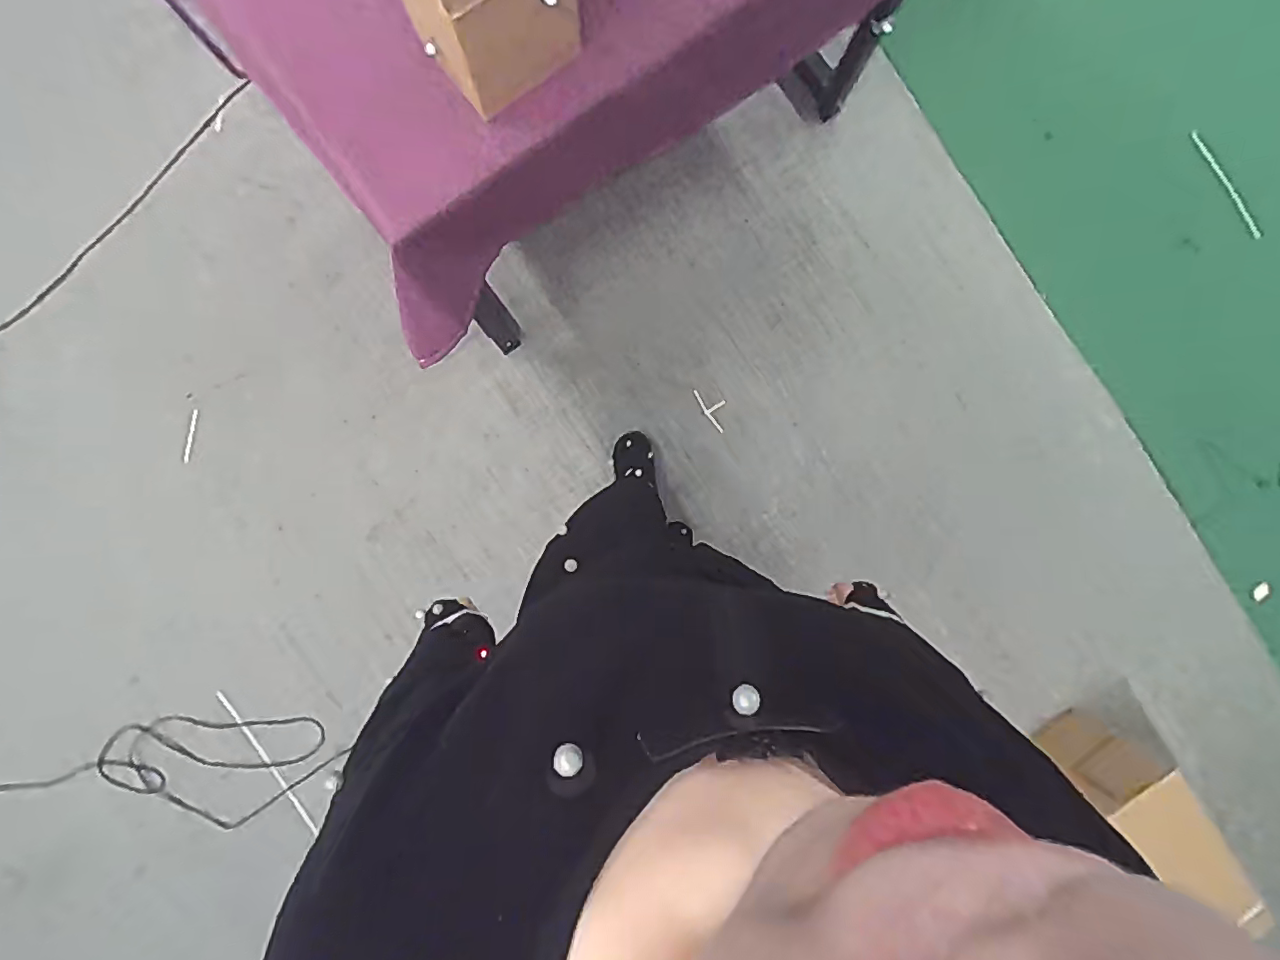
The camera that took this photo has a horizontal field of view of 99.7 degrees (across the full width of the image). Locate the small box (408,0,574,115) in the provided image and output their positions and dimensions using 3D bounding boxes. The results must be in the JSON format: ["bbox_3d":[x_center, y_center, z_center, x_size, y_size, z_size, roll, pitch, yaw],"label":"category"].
[{"bbox_3d":[-0.197,-0.632,0.696,0.179,0.176,0.168,-37,90,-2],"label":"small box"}]
